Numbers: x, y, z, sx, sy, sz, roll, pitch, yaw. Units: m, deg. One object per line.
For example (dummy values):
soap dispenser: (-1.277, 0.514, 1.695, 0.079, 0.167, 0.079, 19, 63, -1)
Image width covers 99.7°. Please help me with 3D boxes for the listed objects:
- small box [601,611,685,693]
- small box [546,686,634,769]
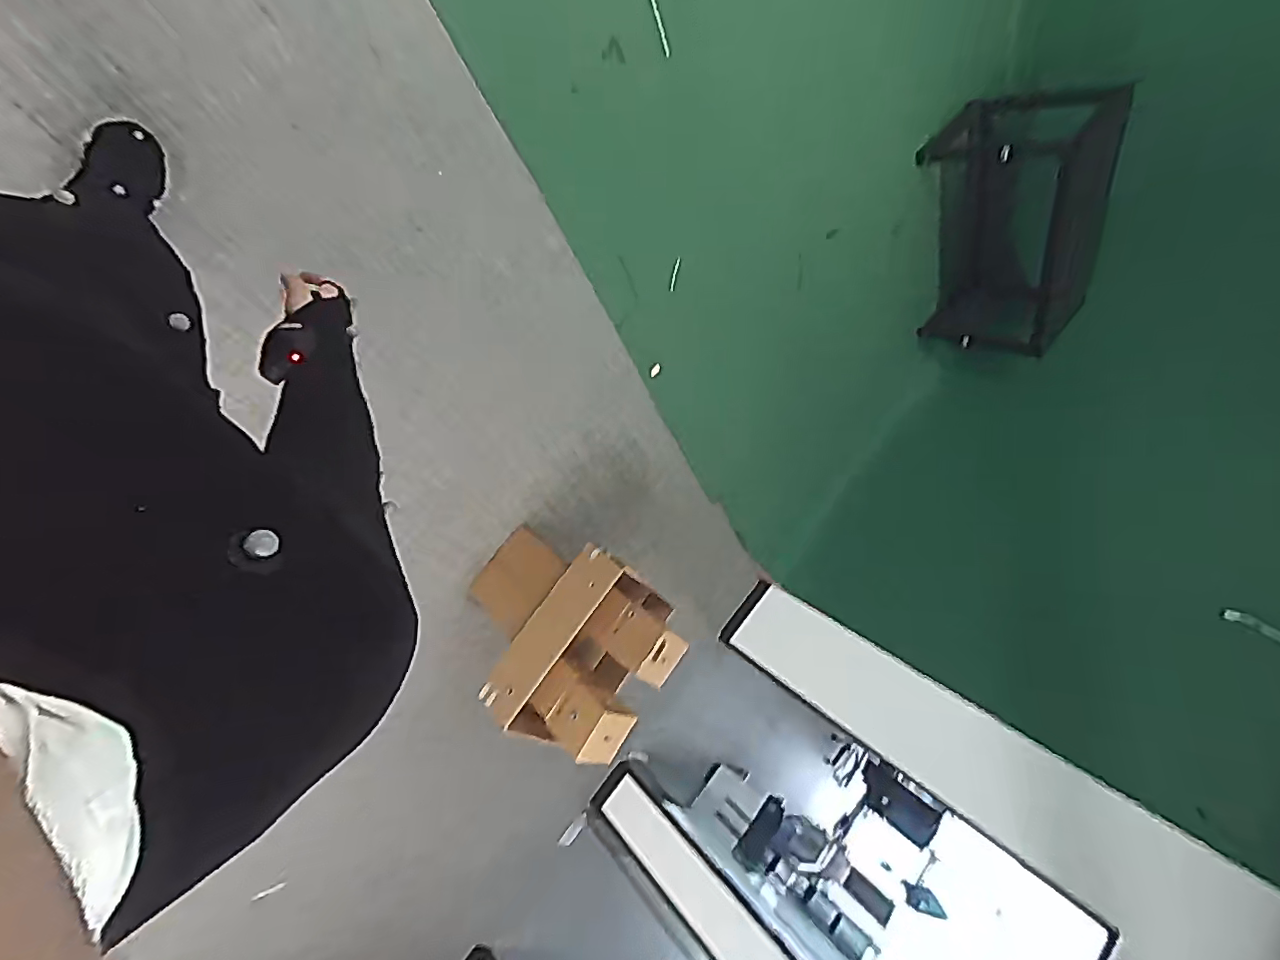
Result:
small box: (0.006, 0.541, 1.724, 0.168, 0.176, 0.179, -53, 138, -11)
small box: (-0.160, 0.765, 1.678, 0.179, 0.176, 0.168, 37, 84, -47)
